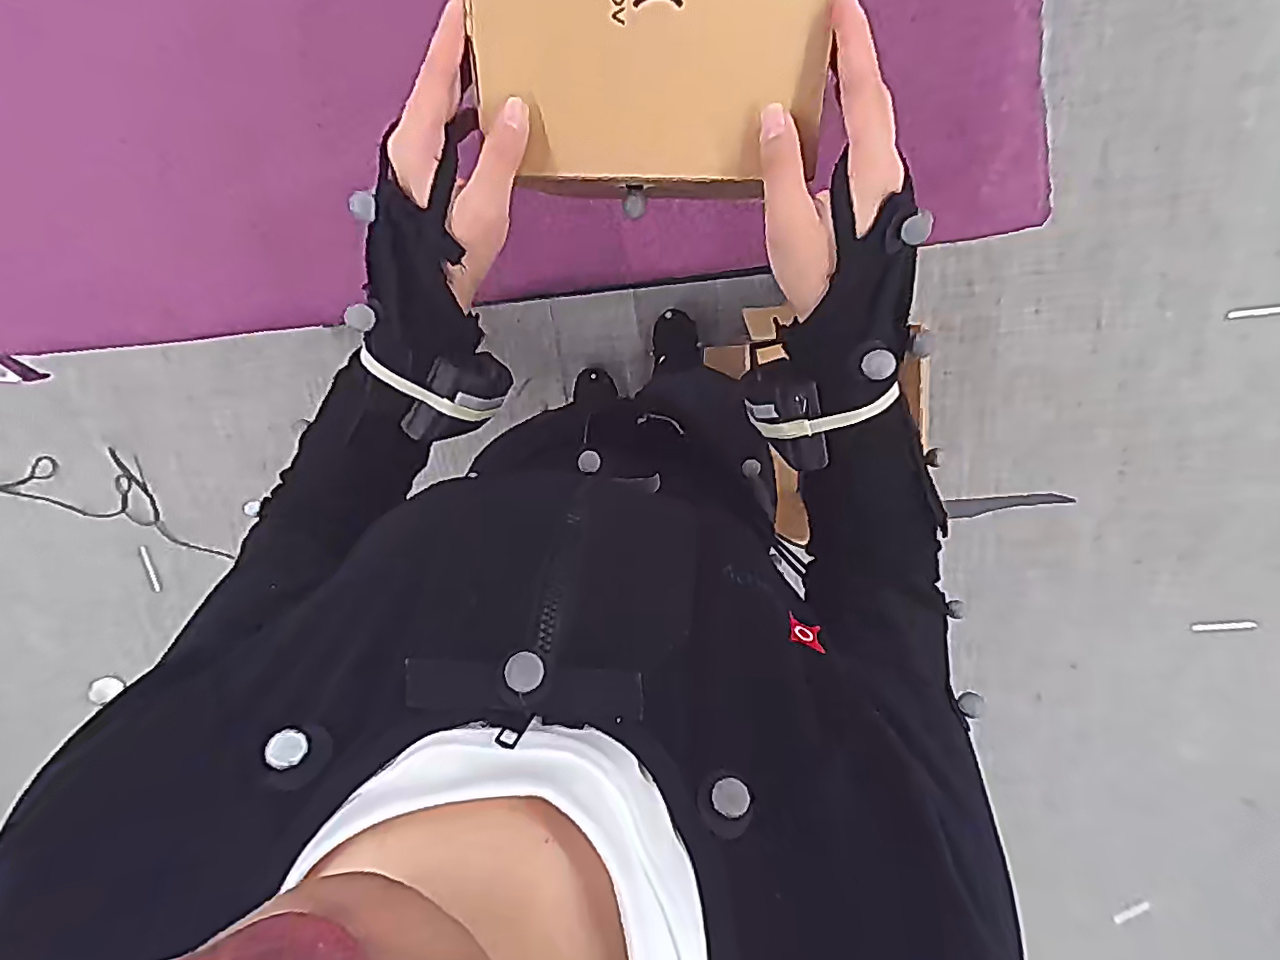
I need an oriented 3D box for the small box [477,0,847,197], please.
[{"bbox_3d":[0.015,-0.266,0.319,0.179,0.176,0.168,3,115,4],"label":"small box"}]
